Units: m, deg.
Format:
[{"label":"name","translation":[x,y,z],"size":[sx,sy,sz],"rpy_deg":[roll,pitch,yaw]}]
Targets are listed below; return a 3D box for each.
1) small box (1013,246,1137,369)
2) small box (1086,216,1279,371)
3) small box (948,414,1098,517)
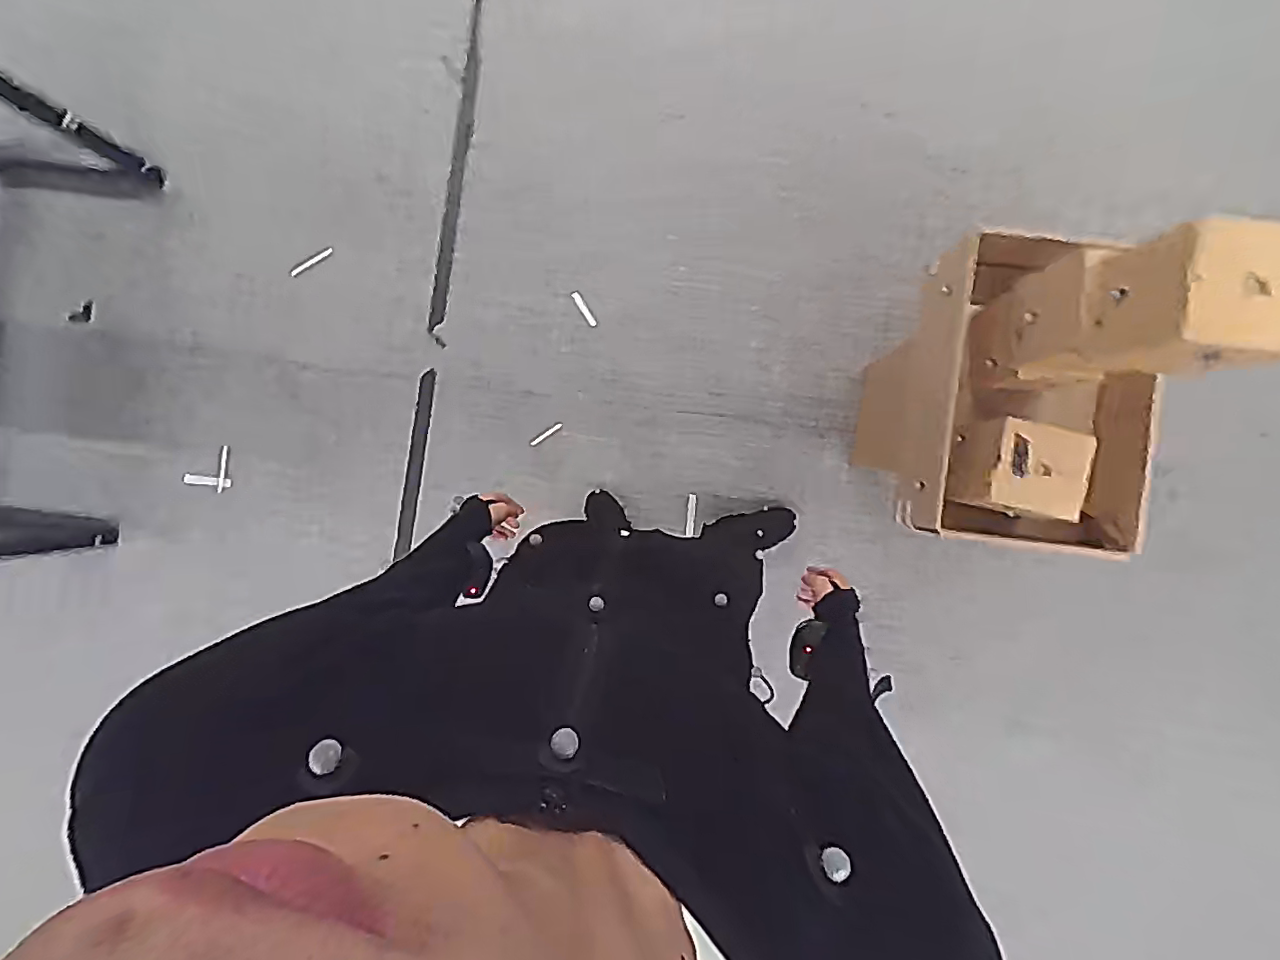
[{"label":"small box","translation":[0.802,-0.291,0.946],"size":[0.179,0.176,0.168],"rpy_deg":[3,92,2]},{"label":"small box","translation":[0.810,-0.257,0.784],"size":[0.179,0.176,0.168],"rpy_deg":[6,93,1]},{"label":"small box","translation":[0.772,-0.027,1.109],"size":[0.179,0.176,0.168],"rpy_deg":[14,90,1]}]
